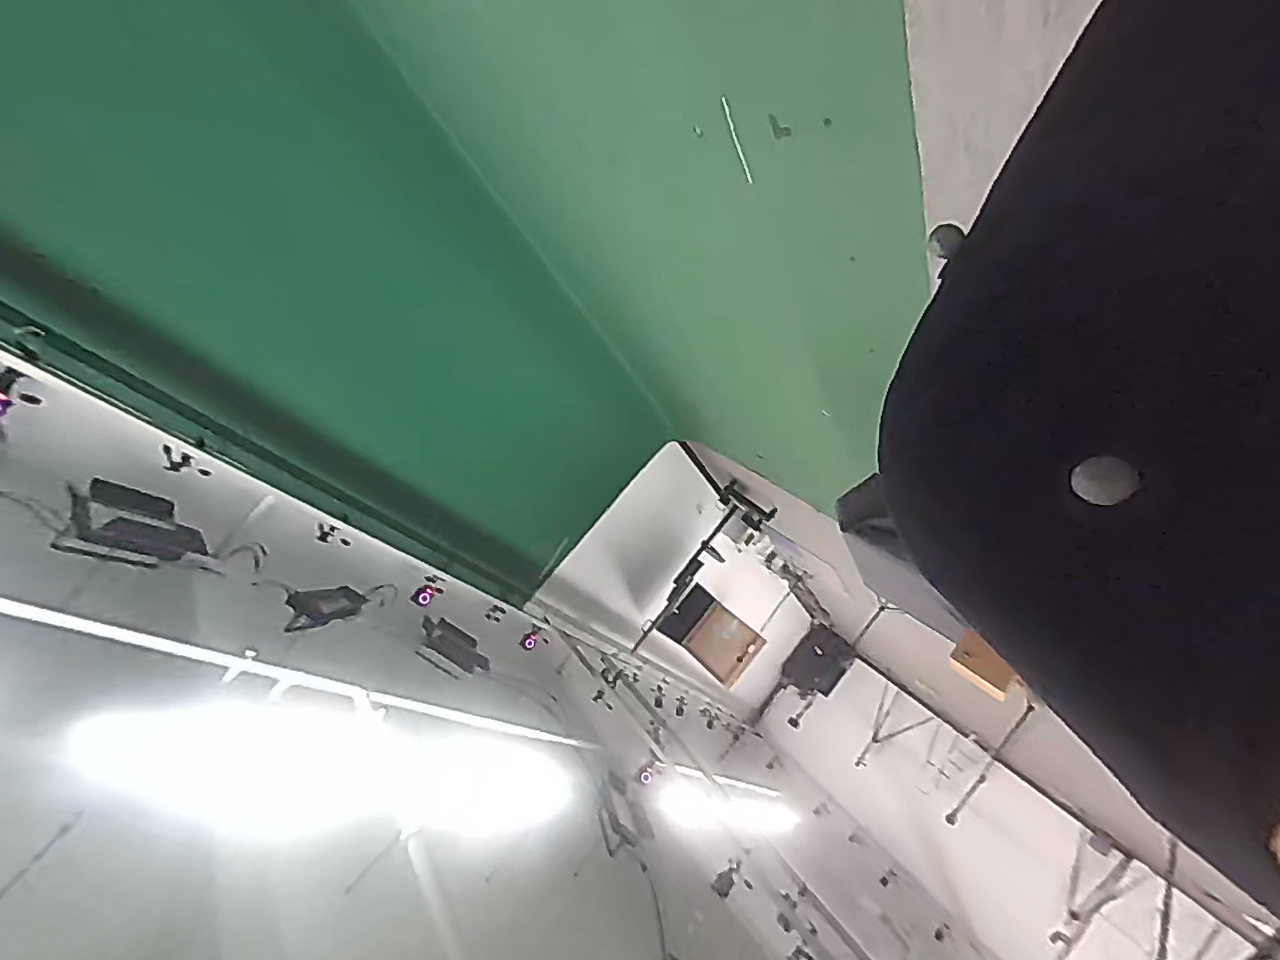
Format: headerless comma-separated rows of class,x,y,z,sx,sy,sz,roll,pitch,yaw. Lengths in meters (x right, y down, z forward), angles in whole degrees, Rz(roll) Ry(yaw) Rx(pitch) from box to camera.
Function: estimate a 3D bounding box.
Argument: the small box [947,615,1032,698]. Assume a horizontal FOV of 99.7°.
small box,1.137,0.573,1.762,0.179,0.176,0.168,36,174,41
